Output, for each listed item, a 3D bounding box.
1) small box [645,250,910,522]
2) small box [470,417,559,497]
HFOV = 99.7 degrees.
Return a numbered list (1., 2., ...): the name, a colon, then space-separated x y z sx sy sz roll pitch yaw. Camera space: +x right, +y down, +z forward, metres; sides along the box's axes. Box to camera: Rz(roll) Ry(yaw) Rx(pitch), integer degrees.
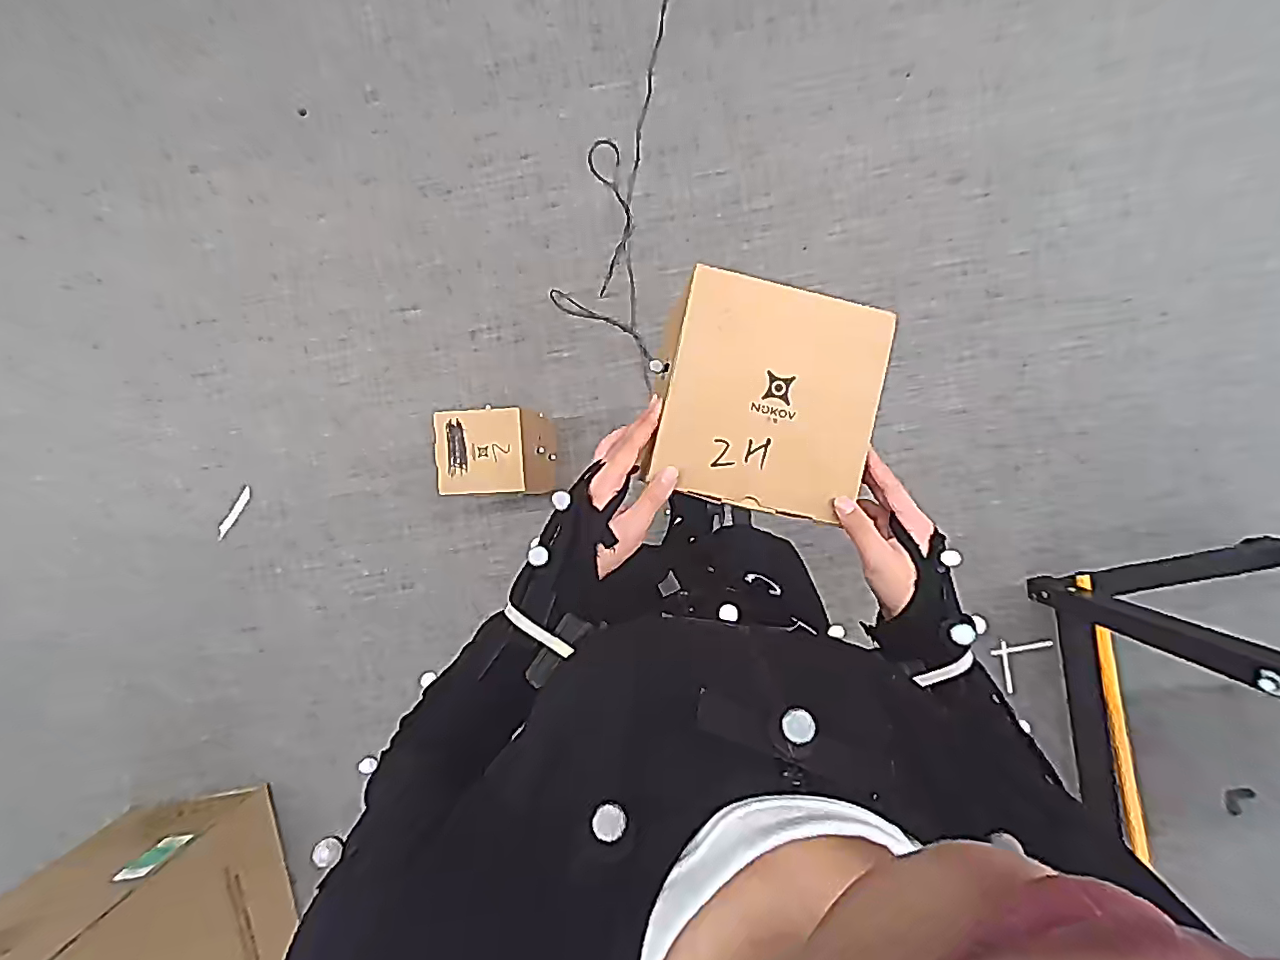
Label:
1. small box: 0.104 -0.071 0.487 0.168 0.176 0.179 13 90 -4
2. small box: -0.293 -0.056 1.290 0.168 0.176 0.179 -3 94 3
